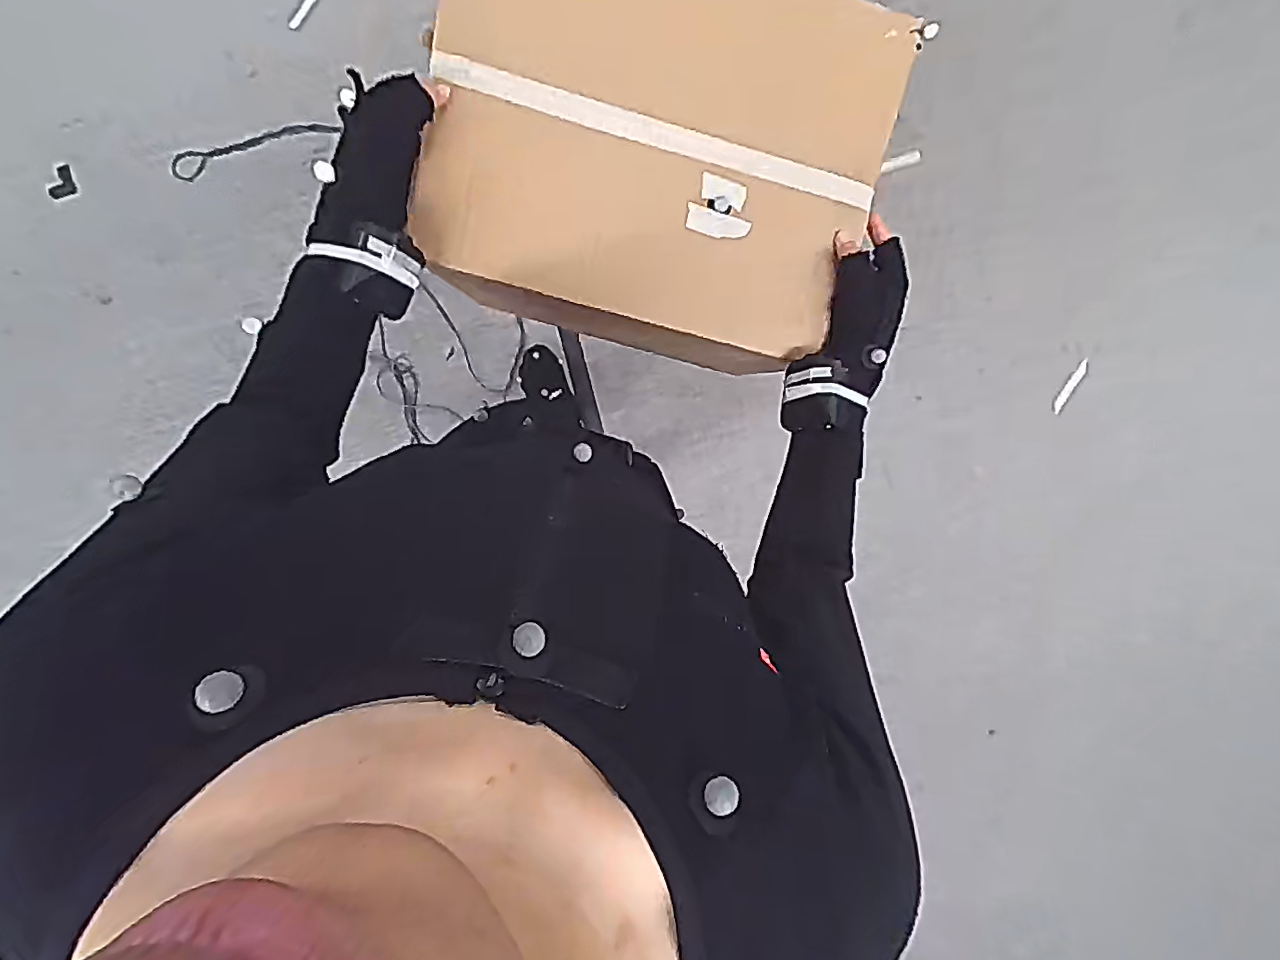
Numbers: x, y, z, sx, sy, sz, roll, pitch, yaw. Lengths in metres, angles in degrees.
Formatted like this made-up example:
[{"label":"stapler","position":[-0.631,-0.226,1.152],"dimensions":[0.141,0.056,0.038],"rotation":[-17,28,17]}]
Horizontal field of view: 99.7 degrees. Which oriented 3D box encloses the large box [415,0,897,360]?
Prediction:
[{"label":"large box","position":[0.001,-0.344,0.644],"dimensions":[0.408,0.320,0.320],"rotation":[12,99,-7]}]
